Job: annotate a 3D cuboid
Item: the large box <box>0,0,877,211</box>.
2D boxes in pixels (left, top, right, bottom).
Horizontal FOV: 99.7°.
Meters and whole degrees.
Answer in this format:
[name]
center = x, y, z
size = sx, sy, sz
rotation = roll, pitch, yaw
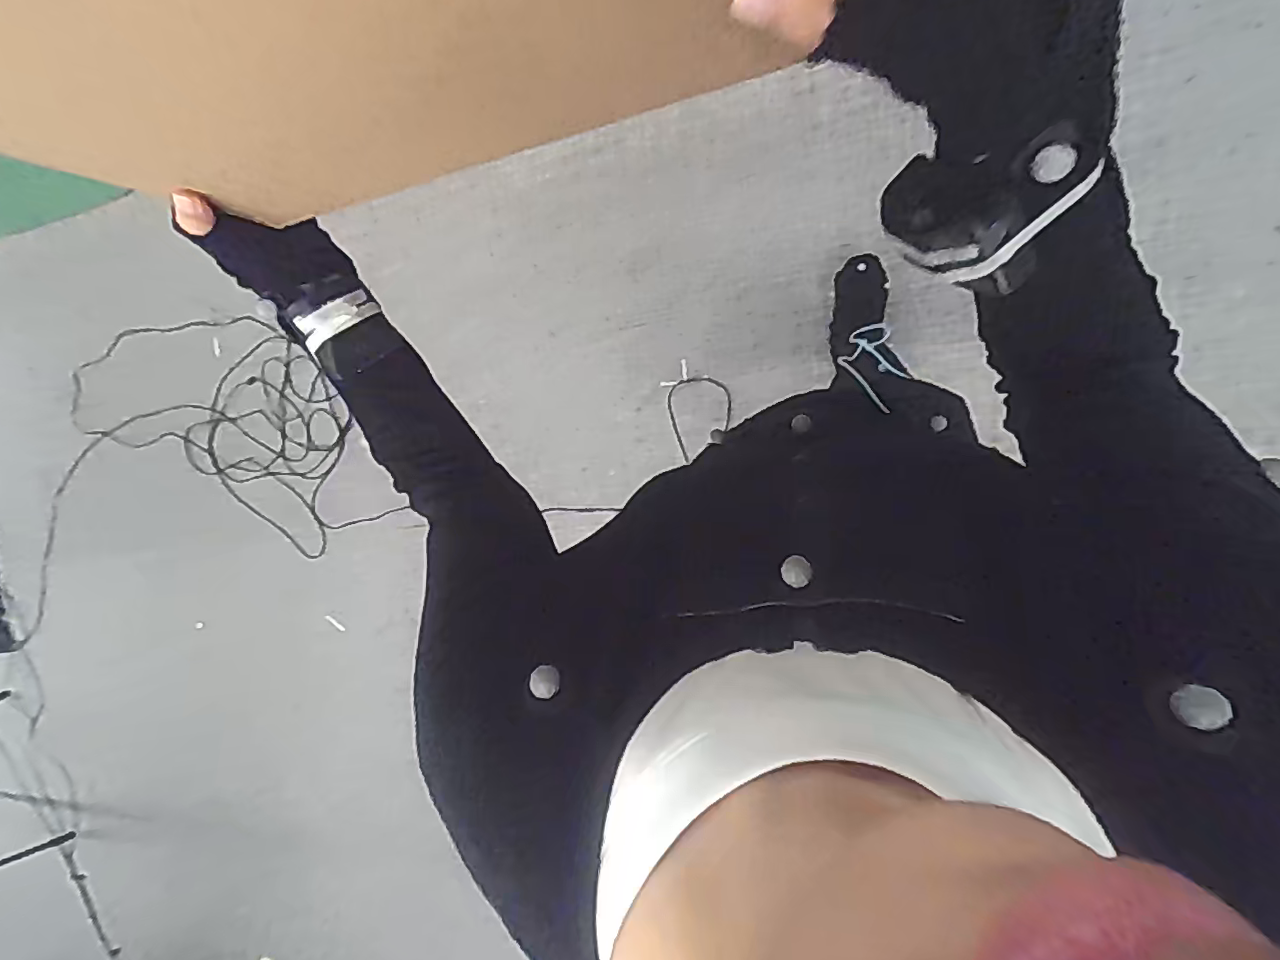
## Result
[large box]
center = -0.139, -0.317, 0.143
size = 0.408, 0.320, 0.320
rotation = 0, 98, 25
